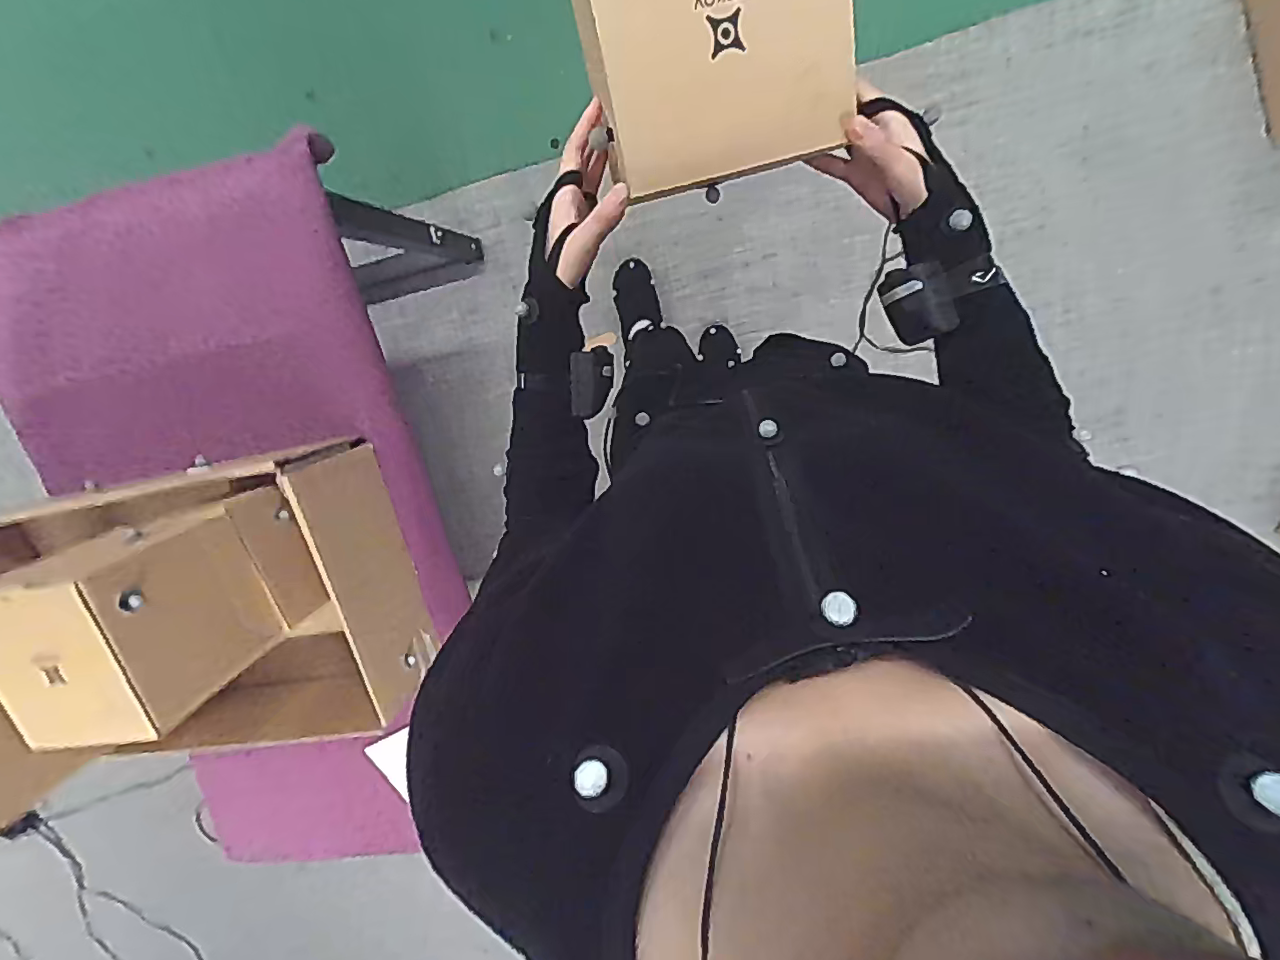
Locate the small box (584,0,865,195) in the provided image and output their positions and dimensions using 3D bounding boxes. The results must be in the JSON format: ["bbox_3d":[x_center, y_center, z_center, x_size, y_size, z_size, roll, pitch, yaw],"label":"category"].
[{"bbox_3d":[0.053,-0.328,0.411,0.168,0.176,0.179,-13,114,0],"label":"small box"}]

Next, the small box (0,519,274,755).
[{"bbox_3d":[-0.542,0.158,0.578,0.168,0.176,0.179,-9,105,11],"label":"small box"}]
